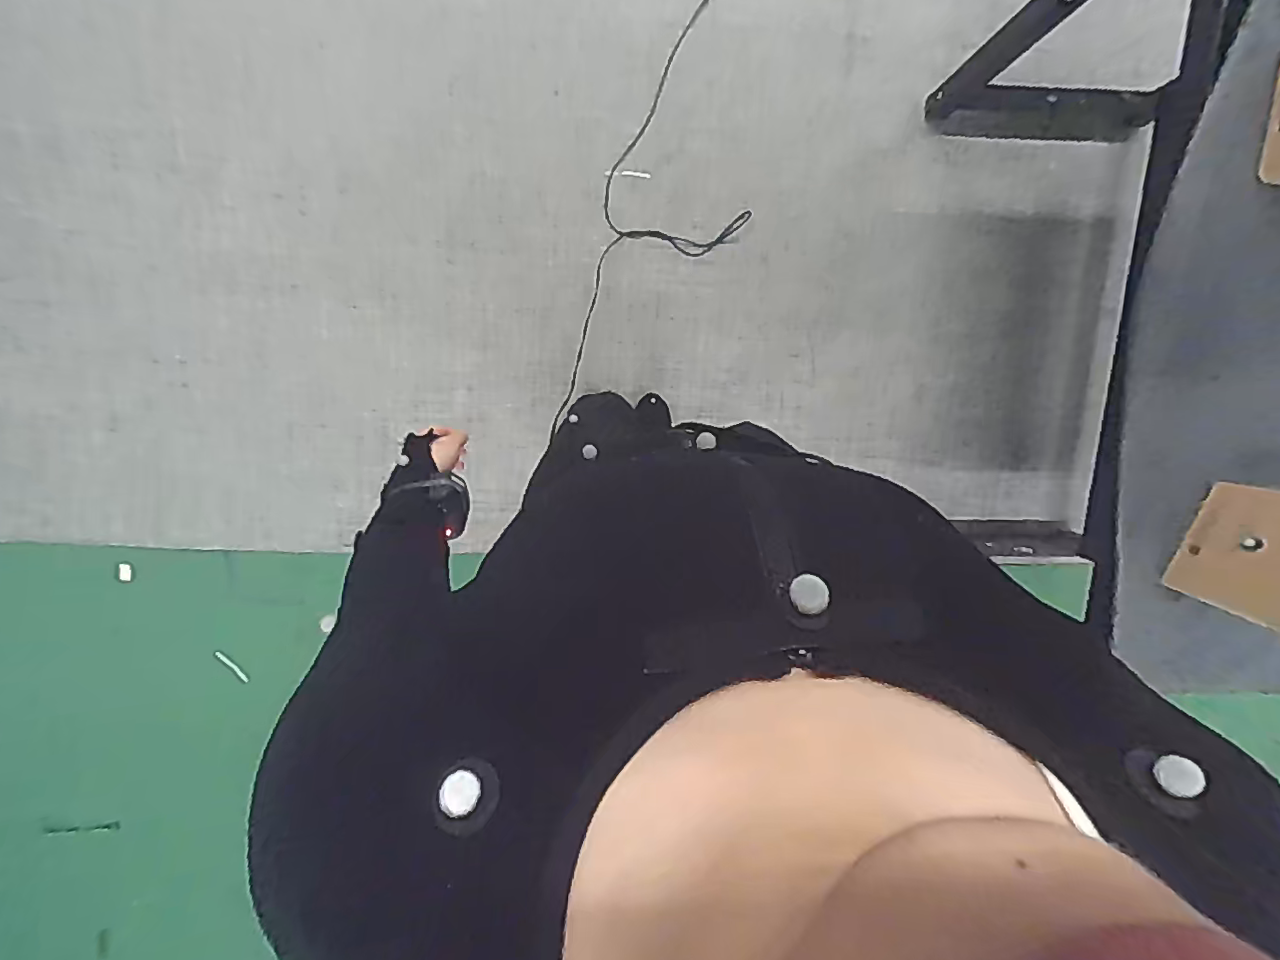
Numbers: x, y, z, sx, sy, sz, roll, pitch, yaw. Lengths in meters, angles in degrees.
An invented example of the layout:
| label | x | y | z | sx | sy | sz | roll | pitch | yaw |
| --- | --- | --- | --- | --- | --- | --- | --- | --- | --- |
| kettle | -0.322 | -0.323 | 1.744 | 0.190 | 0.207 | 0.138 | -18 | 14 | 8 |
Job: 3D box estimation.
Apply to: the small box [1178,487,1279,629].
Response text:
| label | x | y | z | sx | sy | sz | roll | pitch | yaw |
| --- | --- | --- | --- | --- | --- | --- | --- | --- | --- |
| small box | 0.879 | 0.118 | 0.701 | 0.179 | 0.176 | 0.168 | 21 | 98 | -8 |

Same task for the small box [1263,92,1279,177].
| label | x | y | z | sx | sy | sz | roll | pitch | yaw |
| --- | --- | --- | --- | --- | --- | --- | --- | --- | --- |
| small box | 0.900 | -0.458 | 0.614 | 0.179 | 0.176 | 0.168 | 1 | 99 | -4 |
